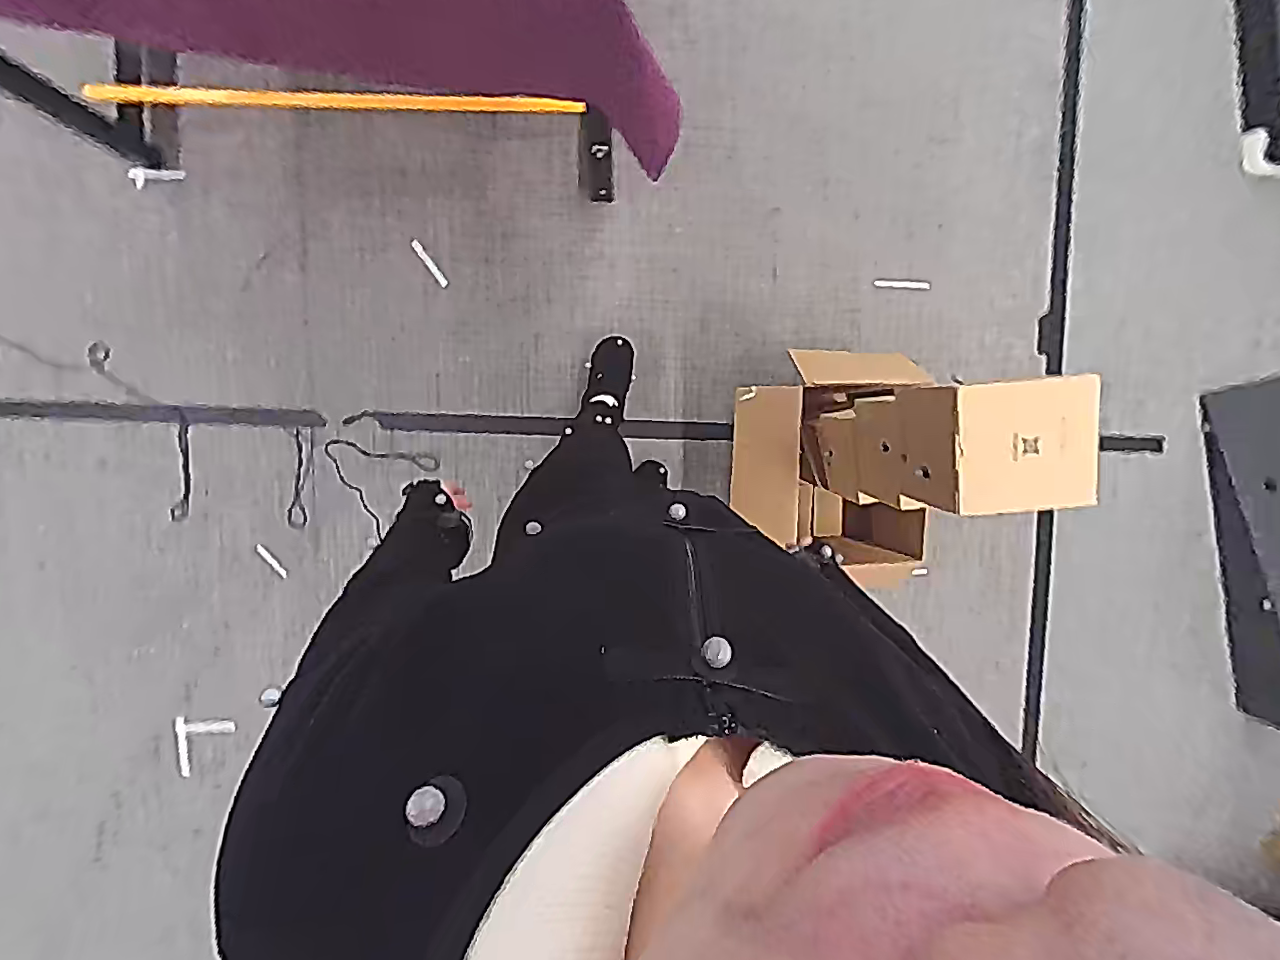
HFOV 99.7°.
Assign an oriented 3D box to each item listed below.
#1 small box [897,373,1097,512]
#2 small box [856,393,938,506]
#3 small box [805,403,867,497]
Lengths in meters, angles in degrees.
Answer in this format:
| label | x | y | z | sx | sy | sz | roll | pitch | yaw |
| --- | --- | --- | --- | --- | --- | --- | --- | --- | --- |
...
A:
| label | x | y | z | sx | sy | sz | roll | pitch | yaw |
| --- | --- | --- | --- | --- | --- | --- | --- | --- | --- |
| small box | 0.477 | -0.056 | 0.750 | 0.179 | 0.176 | 0.168 | -5 | 99 | 1 |
| small box | 0.478 | -0.061 | 0.914 | 0.168 | 0.176 | 0.179 | -6 | 98 | 2 |
| small box | 0.499 | -0.079 | 1.243 | 0.168 | 0.176 | 0.179 | -20 | 99 | 2 |
